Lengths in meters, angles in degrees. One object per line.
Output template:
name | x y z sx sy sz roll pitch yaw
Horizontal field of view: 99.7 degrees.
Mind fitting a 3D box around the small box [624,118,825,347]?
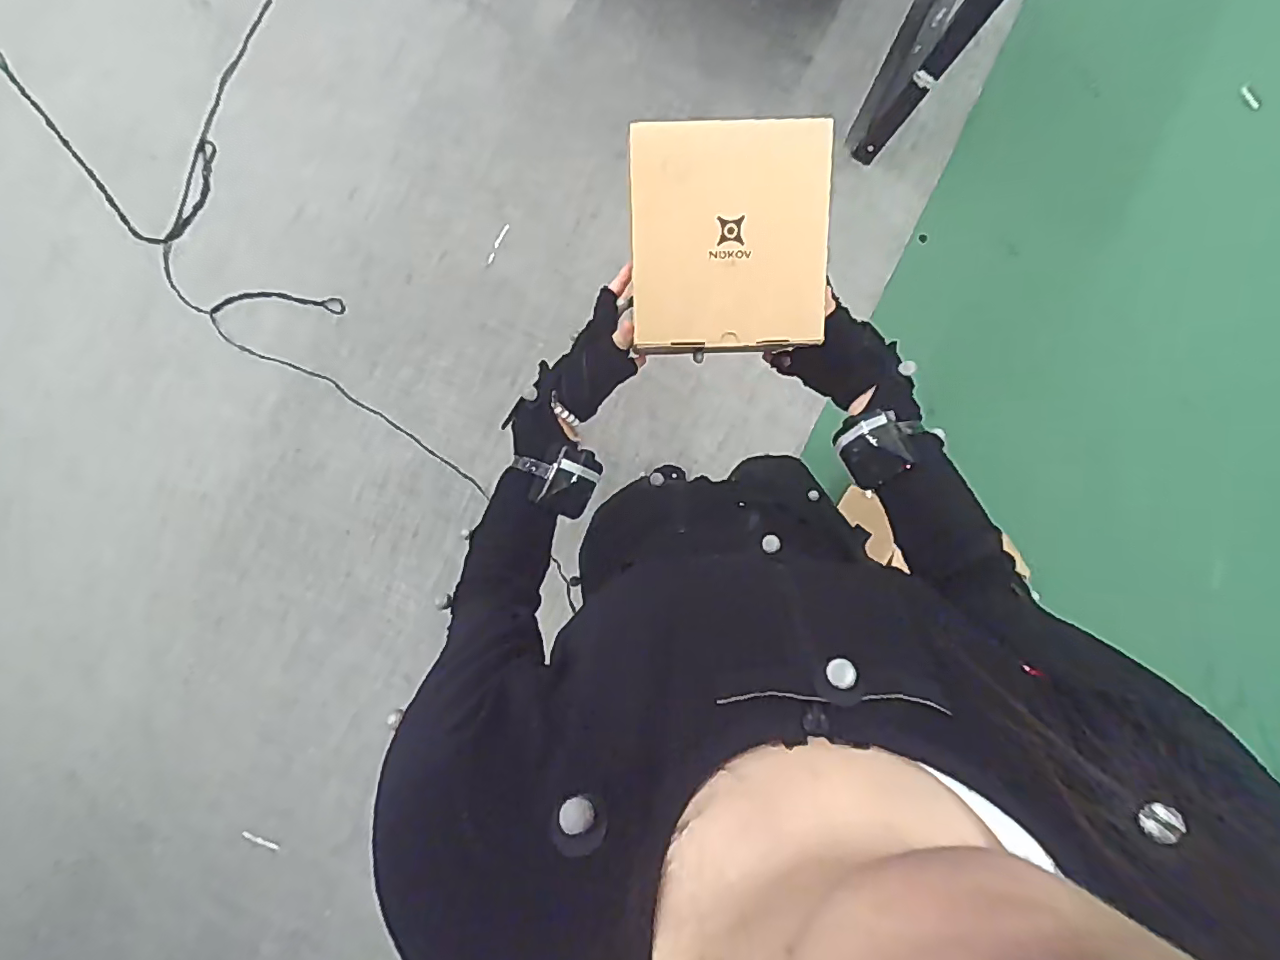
small box | 0.069 -0.225 0.535 0.168 0.176 0.179 -2 103 -2
